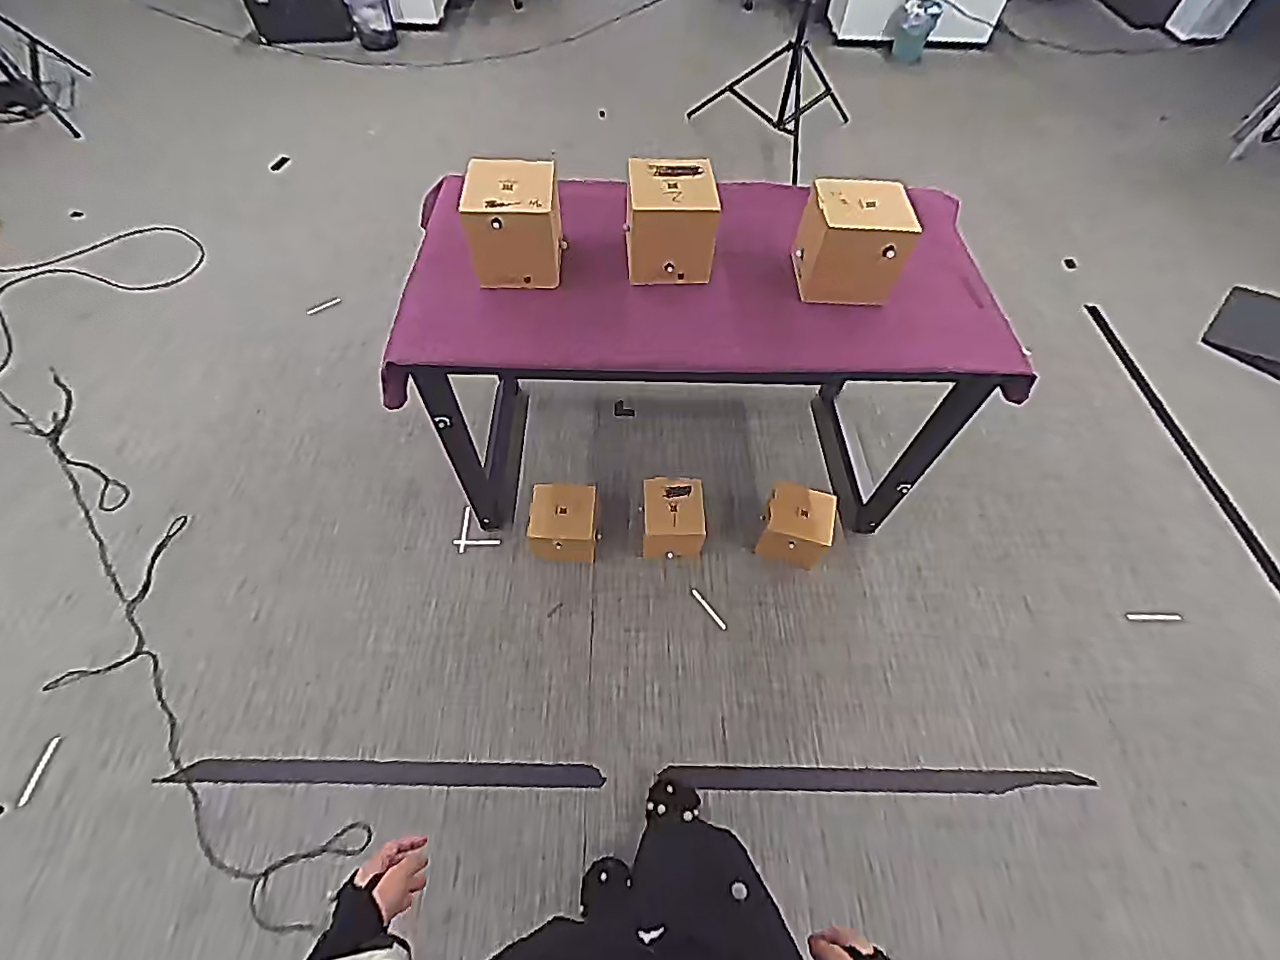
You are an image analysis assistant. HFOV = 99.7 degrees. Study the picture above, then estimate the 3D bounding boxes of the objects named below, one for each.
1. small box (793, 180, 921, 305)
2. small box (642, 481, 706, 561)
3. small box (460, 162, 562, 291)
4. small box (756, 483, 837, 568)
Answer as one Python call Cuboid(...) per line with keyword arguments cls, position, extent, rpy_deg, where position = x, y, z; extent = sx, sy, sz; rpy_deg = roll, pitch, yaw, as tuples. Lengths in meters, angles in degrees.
Cuboid(cls="small box", position=(0.421, -0.469, 1.080), extent=(0.179, 0.176, 0.168), rpy_deg=(2, 56, 0))
Cuboid(cls="small box", position=(0.092, 0.120, 1.558), extent=(0.168, 0.176, 0.179), rpy_deg=(0, 58, -2))
Cuboid(cls="small box", position=(-0.246, -0.503, 1.079), extent=(0.168, 0.176, 0.179), rpy_deg=(-1, 57, -3))
Cuboid(cls="small box", position=(0.449, 0.137, 1.561), extent=(0.179, 0.176, 0.168), rpy_deg=(14, 59, 9))
